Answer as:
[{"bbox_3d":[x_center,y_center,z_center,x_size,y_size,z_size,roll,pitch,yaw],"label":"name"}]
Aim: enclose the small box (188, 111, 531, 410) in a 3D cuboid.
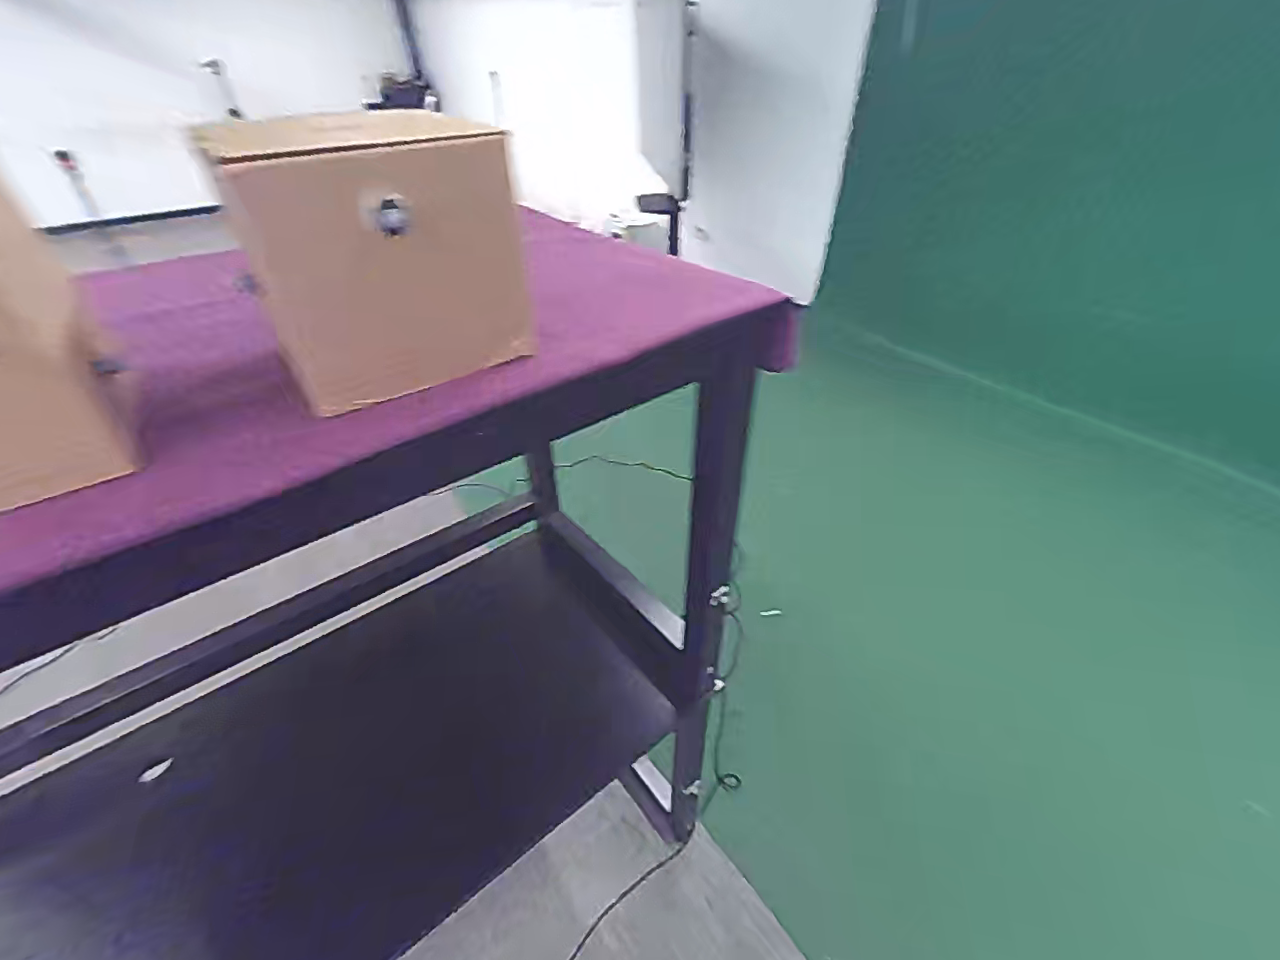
[{"bbox_3d":[-0.205,-0.177,0.424,0.179,0.176,0.168,-25,46,-27],"label":"small box"}]
